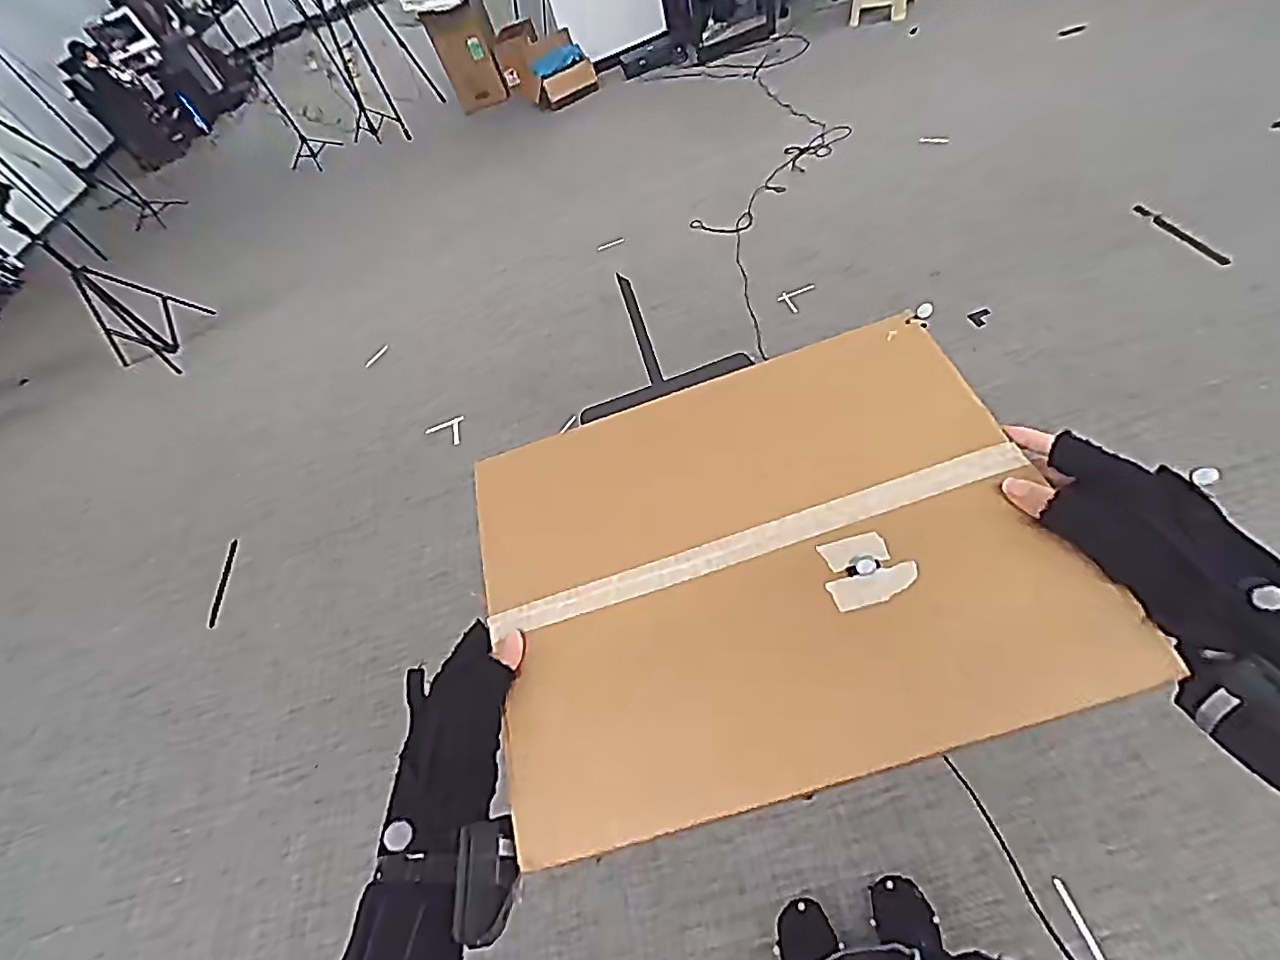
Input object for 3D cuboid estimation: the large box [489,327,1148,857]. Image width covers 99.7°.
[{"bbox_3d":[0.115,0.123,0.538,0.408,0.320,0.320,-19,59,3],"label":"large box"}]
